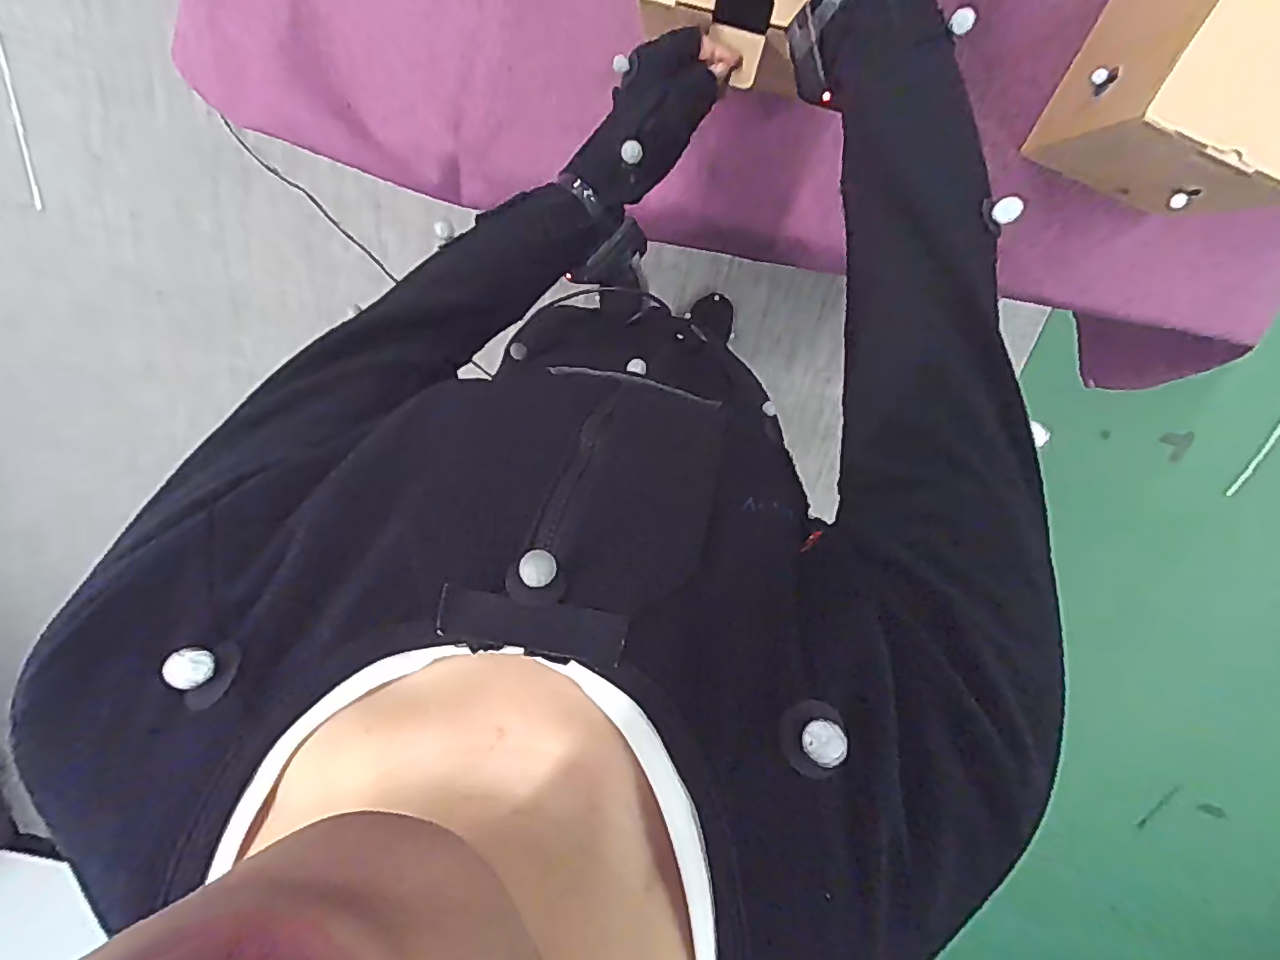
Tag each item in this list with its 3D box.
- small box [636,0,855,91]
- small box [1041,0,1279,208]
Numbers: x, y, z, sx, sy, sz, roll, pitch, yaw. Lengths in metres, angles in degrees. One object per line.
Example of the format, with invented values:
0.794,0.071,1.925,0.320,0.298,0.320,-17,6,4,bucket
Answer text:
0.100,-0.456,0.449,0.168,0.176,0.179,13,114,-1,small box
0.493,-0.351,0.457,0.168,0.176,0.179,22,113,-4,small box
